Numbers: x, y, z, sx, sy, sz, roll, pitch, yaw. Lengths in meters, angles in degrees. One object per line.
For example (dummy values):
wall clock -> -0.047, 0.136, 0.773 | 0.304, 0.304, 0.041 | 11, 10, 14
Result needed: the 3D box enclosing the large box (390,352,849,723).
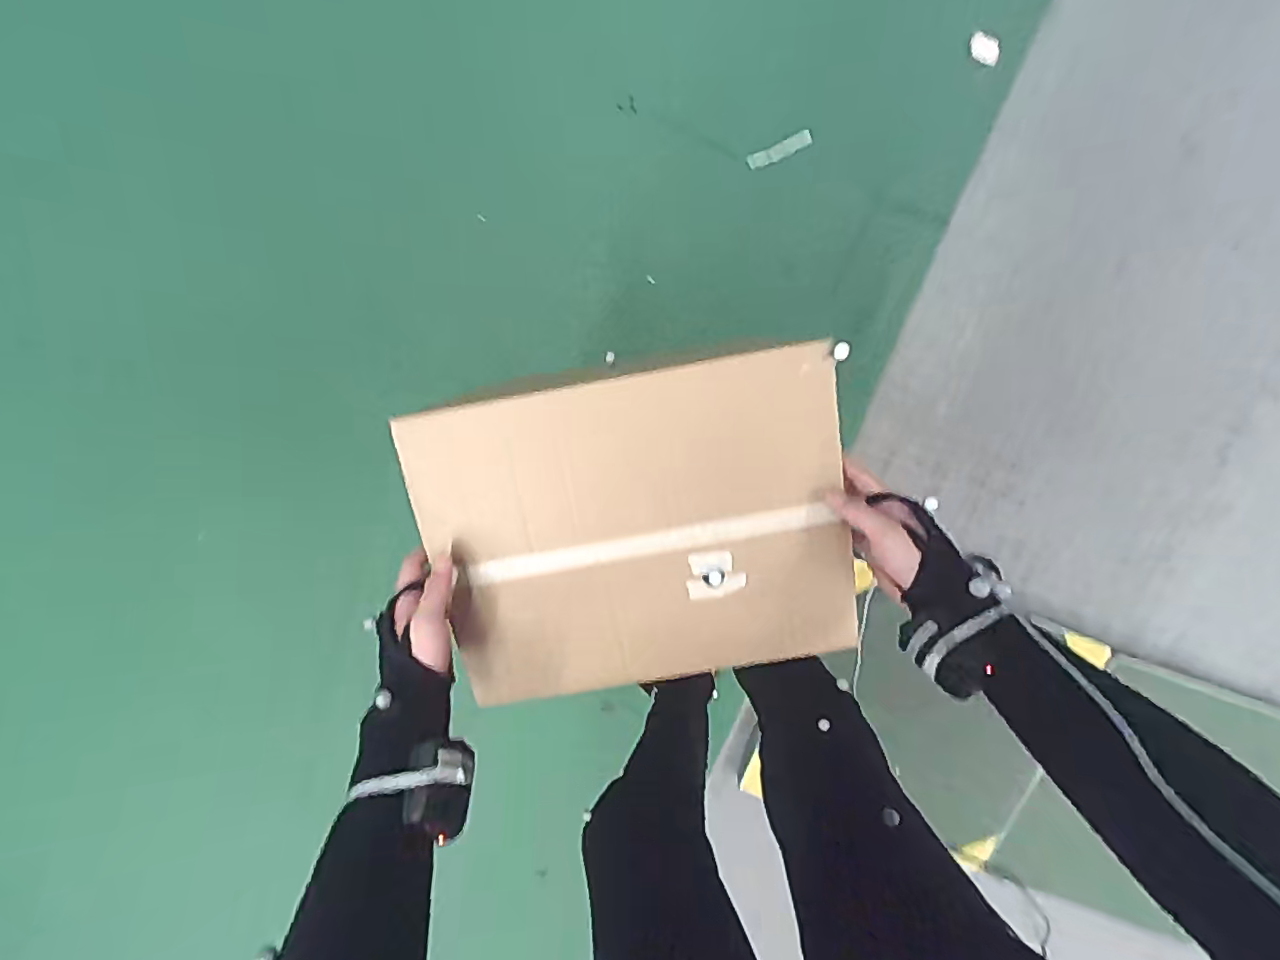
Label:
large box -> -0.012, 0.036, 0.670 | 0.408, 0.320, 0.320 | -12, 105, 2
